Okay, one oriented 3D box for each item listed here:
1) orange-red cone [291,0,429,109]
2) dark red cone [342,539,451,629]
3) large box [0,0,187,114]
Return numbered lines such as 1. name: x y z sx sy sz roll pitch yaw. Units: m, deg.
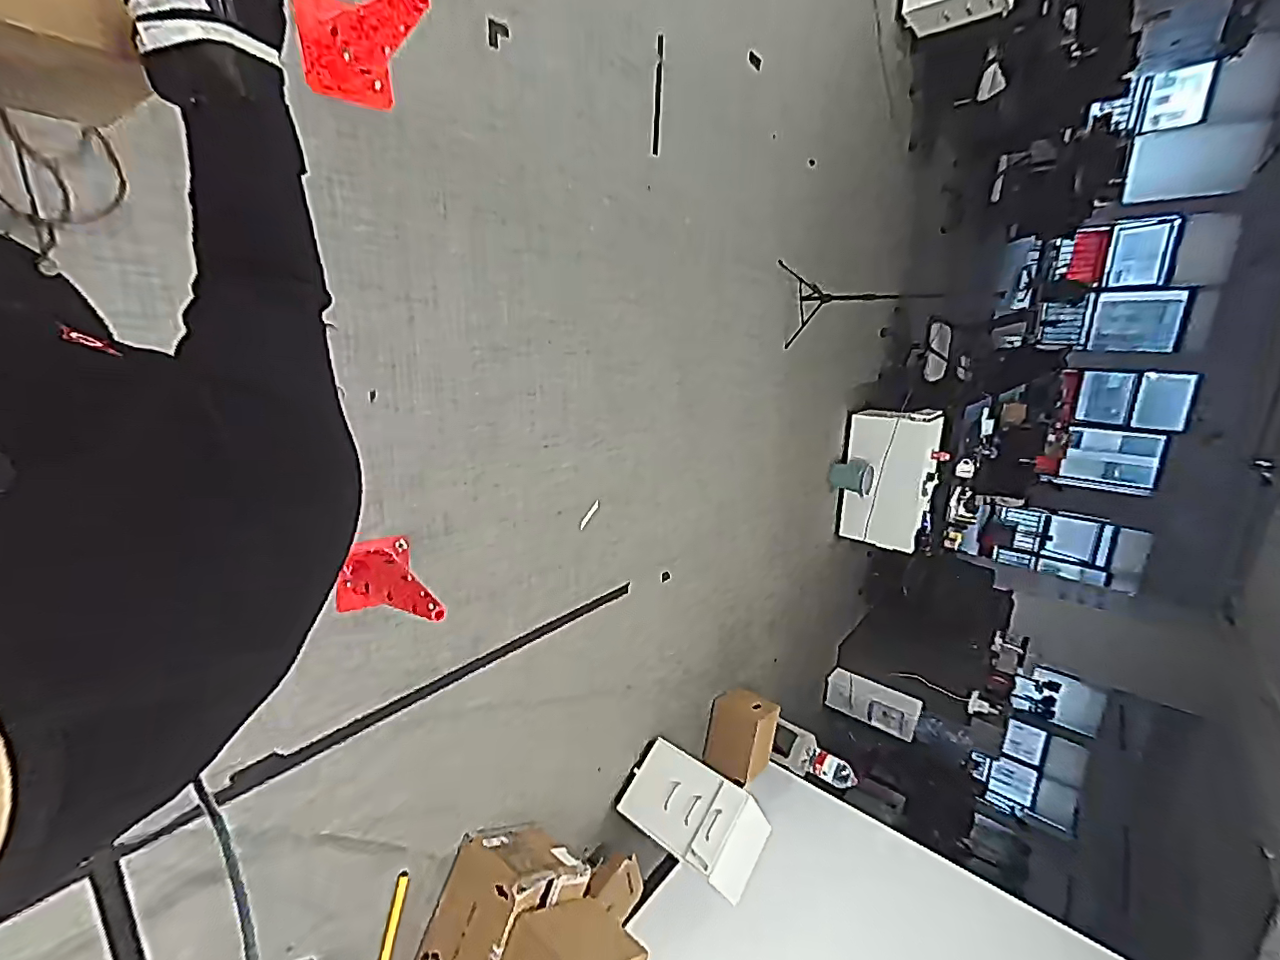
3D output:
1. orange-red cone: -0.559 -0.970 1.150 0.198 0.360 0.199 -20 114 -47
2. dark red cone: -0.612 0.301 1.420 0.201 0.394 0.202 -7 106 -48
3. large box: -0.542 -0.433 0.265 0.408 0.320 0.320 -17 119 -49
